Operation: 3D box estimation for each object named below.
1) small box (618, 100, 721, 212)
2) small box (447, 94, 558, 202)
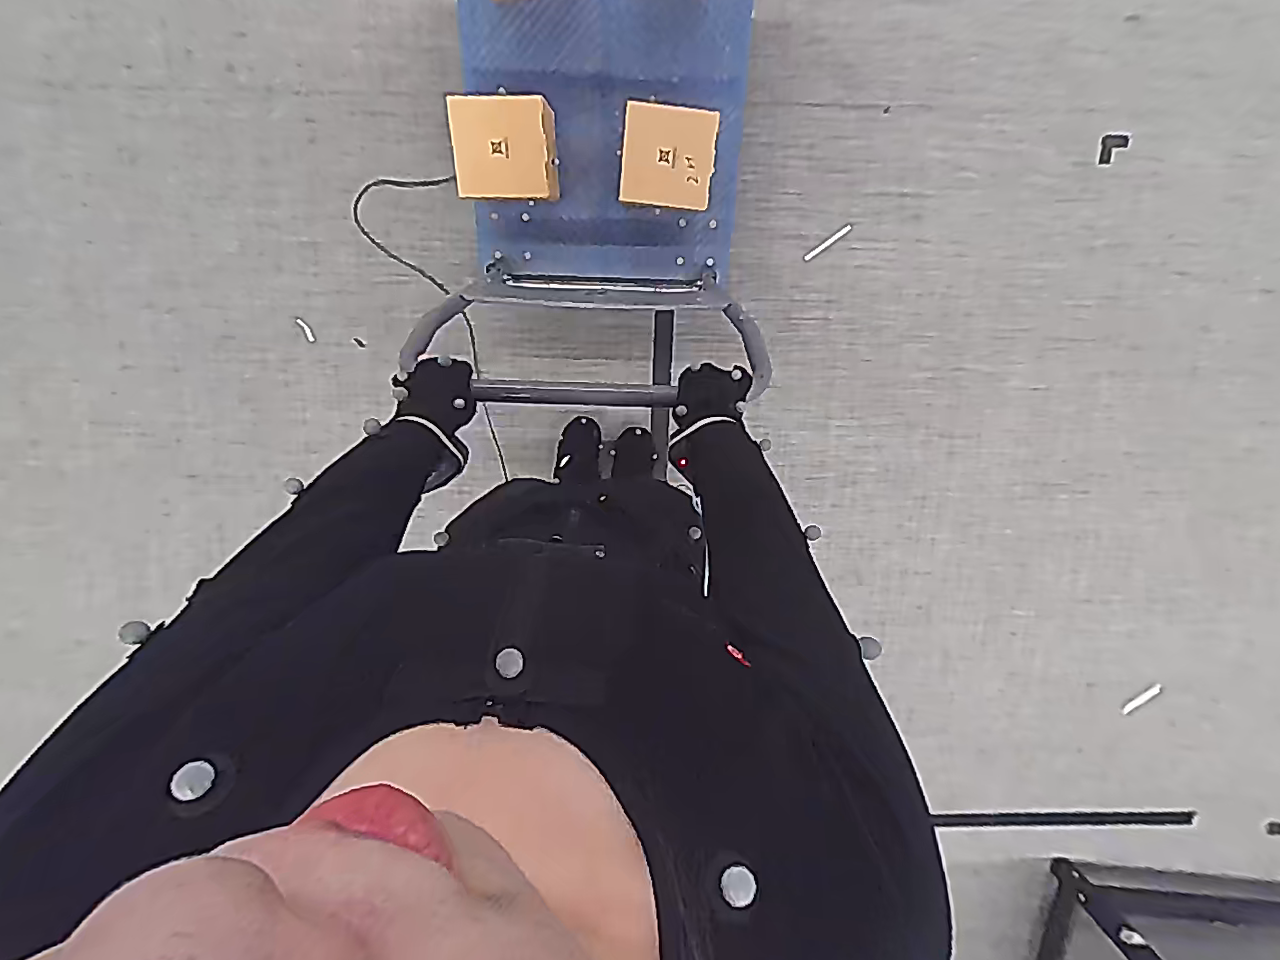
[{"bbox_3d":[0.053,-0.641,1.089,0.179,0.176,0.168,5,115,-3],"label":"small box"},{"bbox_3d":[-0.264,-0.652,1.078,0.179,0.176,0.168,-2,115,-2],"label":"small box"}]
